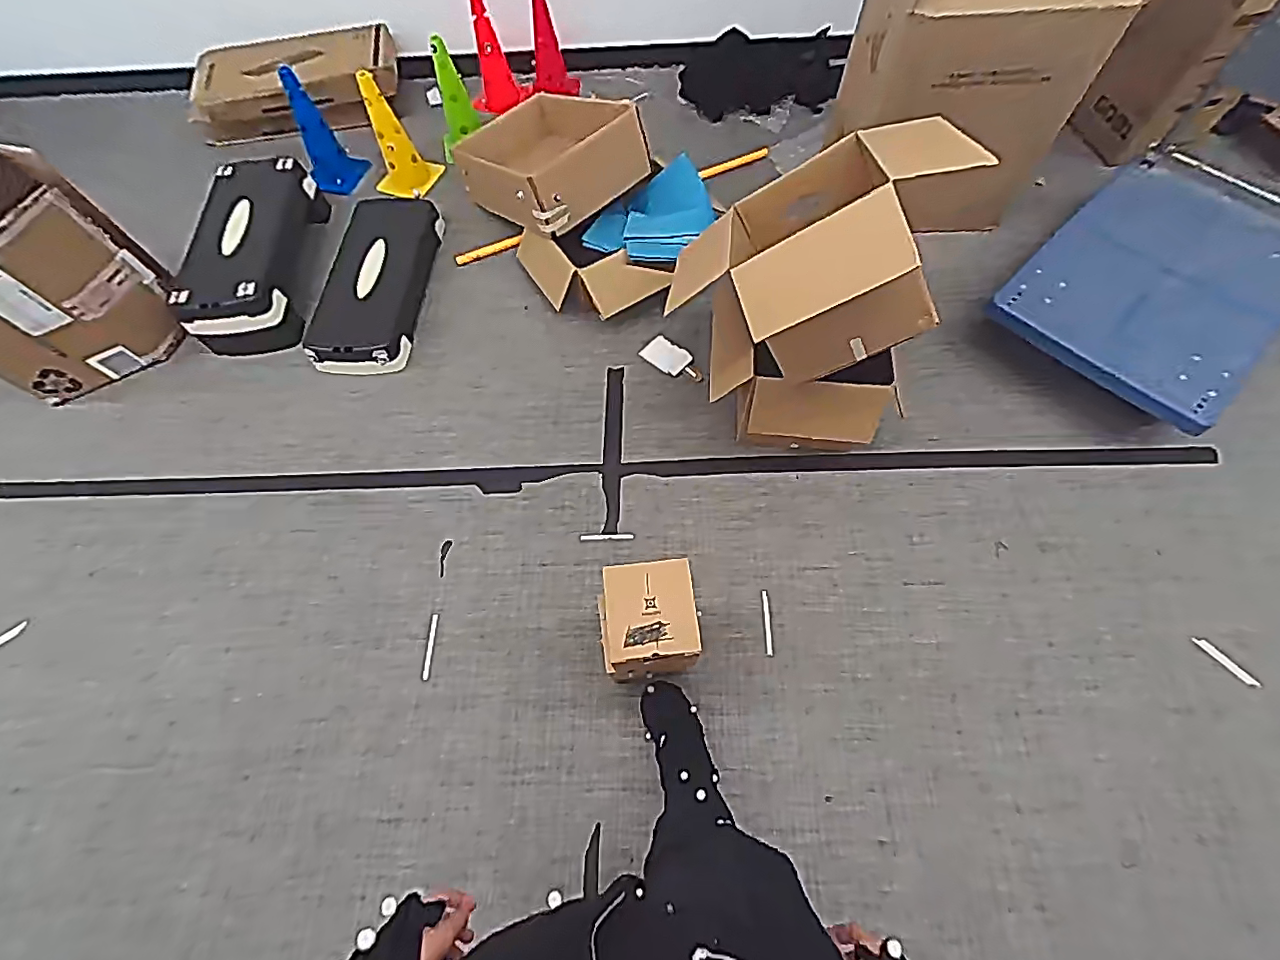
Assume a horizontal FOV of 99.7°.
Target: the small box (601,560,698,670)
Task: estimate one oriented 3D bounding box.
[{"bbox_3d":[0.018,0.269,1.053,0.168,0.176,0.179,-6,64,-1],"label":"small box"}]
